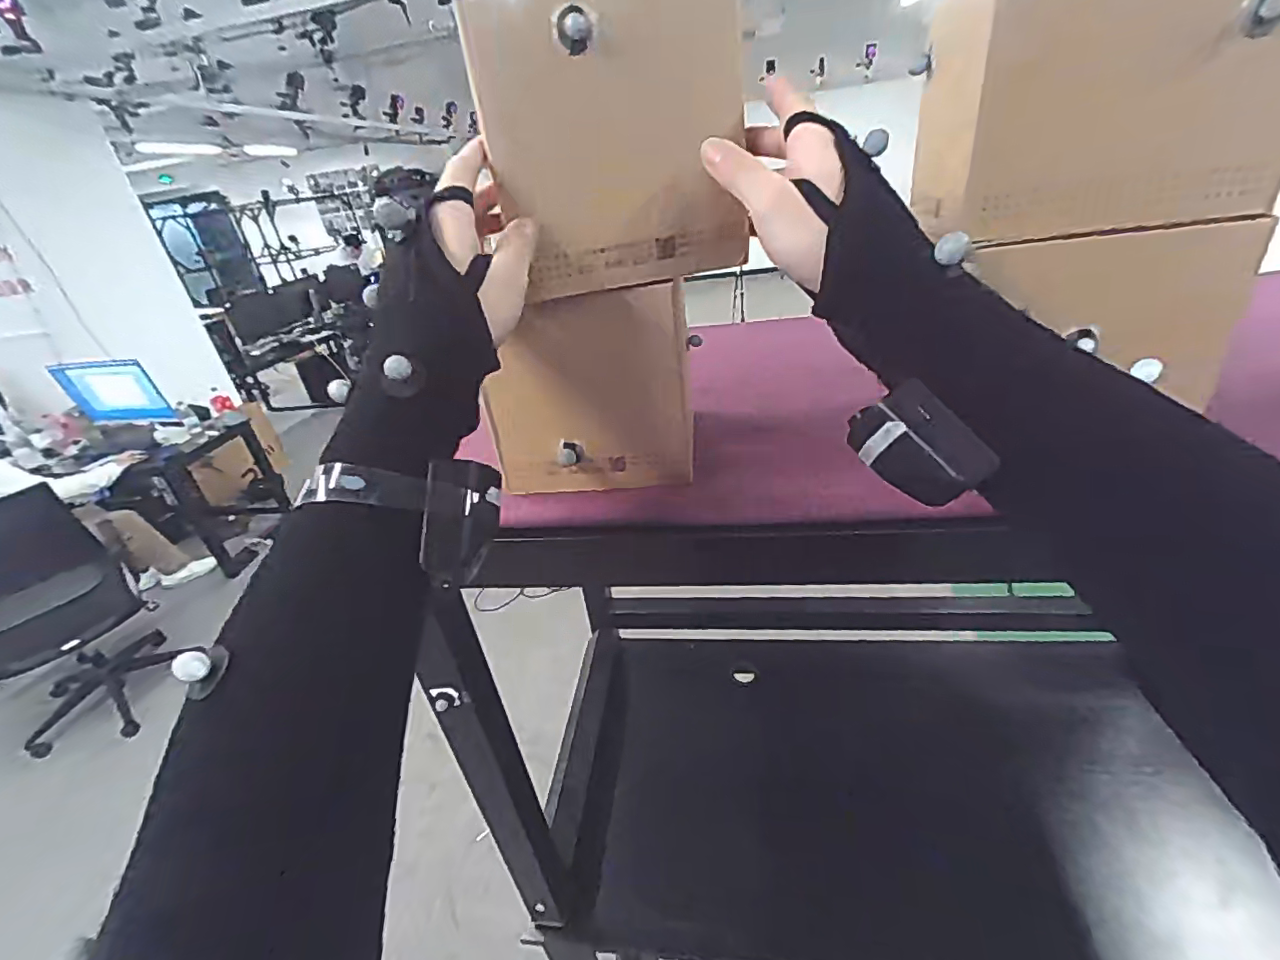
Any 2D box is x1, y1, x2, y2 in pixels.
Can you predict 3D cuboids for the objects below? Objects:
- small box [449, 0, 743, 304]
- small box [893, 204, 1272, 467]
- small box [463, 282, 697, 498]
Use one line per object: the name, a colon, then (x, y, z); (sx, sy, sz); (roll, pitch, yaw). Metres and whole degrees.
small box: (-0.027, -0.241, 0.420); (0.168, 0.176, 0.179); (-12, 26, -2)
small box: (0.327, -0.122, 0.452); (0.179, 0.176, 0.168); (-3, 28, 12)
small box: (-0.037, -0.098, 0.506); (0.168, 0.176, 0.179); (-4, 28, 9)
